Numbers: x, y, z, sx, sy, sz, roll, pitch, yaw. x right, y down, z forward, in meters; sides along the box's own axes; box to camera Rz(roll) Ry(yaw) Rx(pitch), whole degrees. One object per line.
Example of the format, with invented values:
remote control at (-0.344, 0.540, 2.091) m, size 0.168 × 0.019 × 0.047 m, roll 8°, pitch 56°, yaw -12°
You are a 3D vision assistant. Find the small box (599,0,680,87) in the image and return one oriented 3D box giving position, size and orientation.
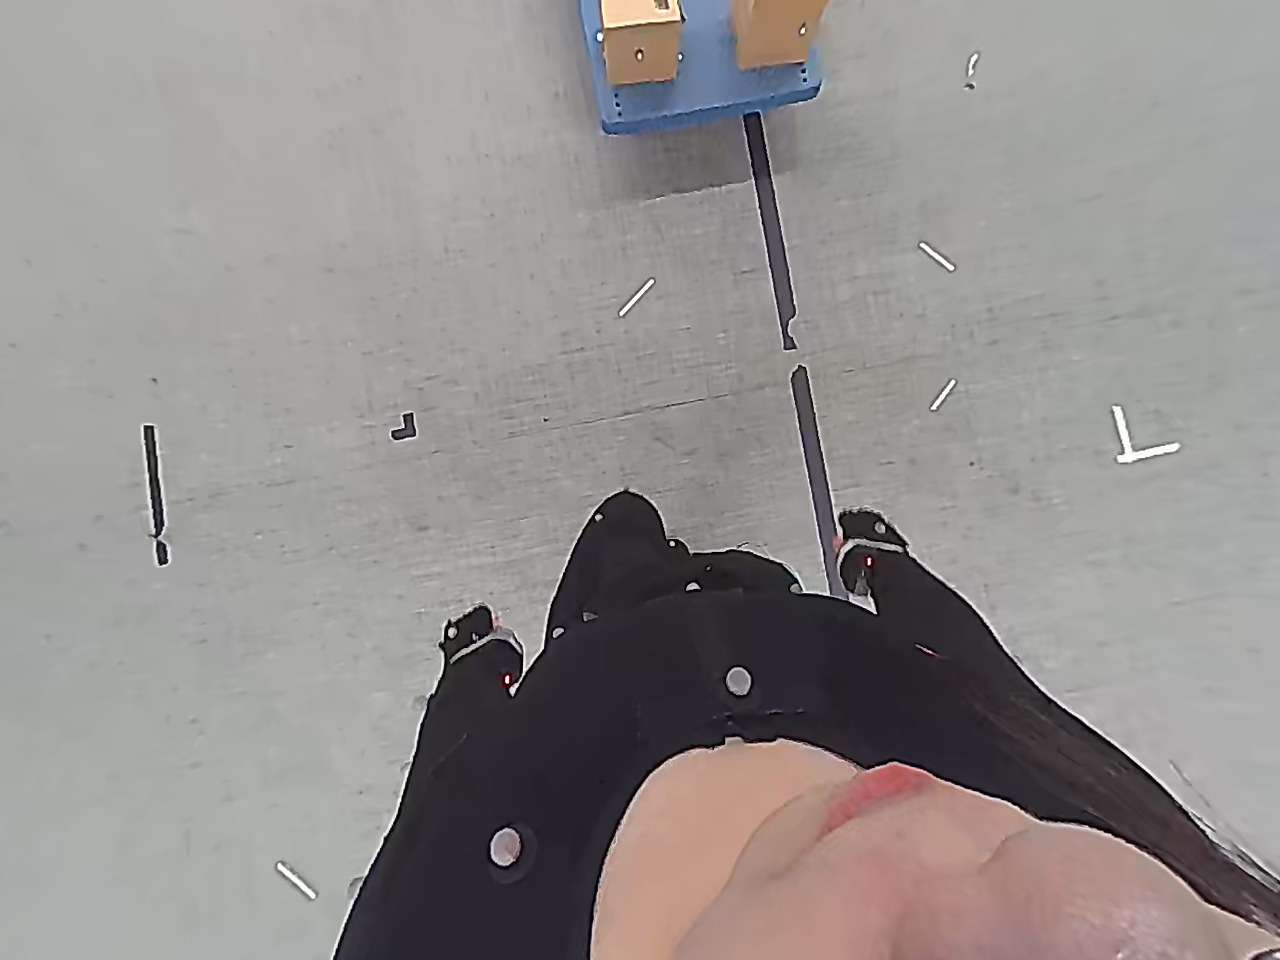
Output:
small box at (-0.004, -1.086, 1.294) m, size 0.179 × 0.176 × 0.168 m, roll -6°, pitch 87°, yaw 1°

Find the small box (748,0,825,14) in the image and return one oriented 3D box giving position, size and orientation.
small box at (0.320, -1.126, 1.131) m, size 0.179 × 0.176 × 0.168 m, roll -5°, pitch 87°, yaw -1°
